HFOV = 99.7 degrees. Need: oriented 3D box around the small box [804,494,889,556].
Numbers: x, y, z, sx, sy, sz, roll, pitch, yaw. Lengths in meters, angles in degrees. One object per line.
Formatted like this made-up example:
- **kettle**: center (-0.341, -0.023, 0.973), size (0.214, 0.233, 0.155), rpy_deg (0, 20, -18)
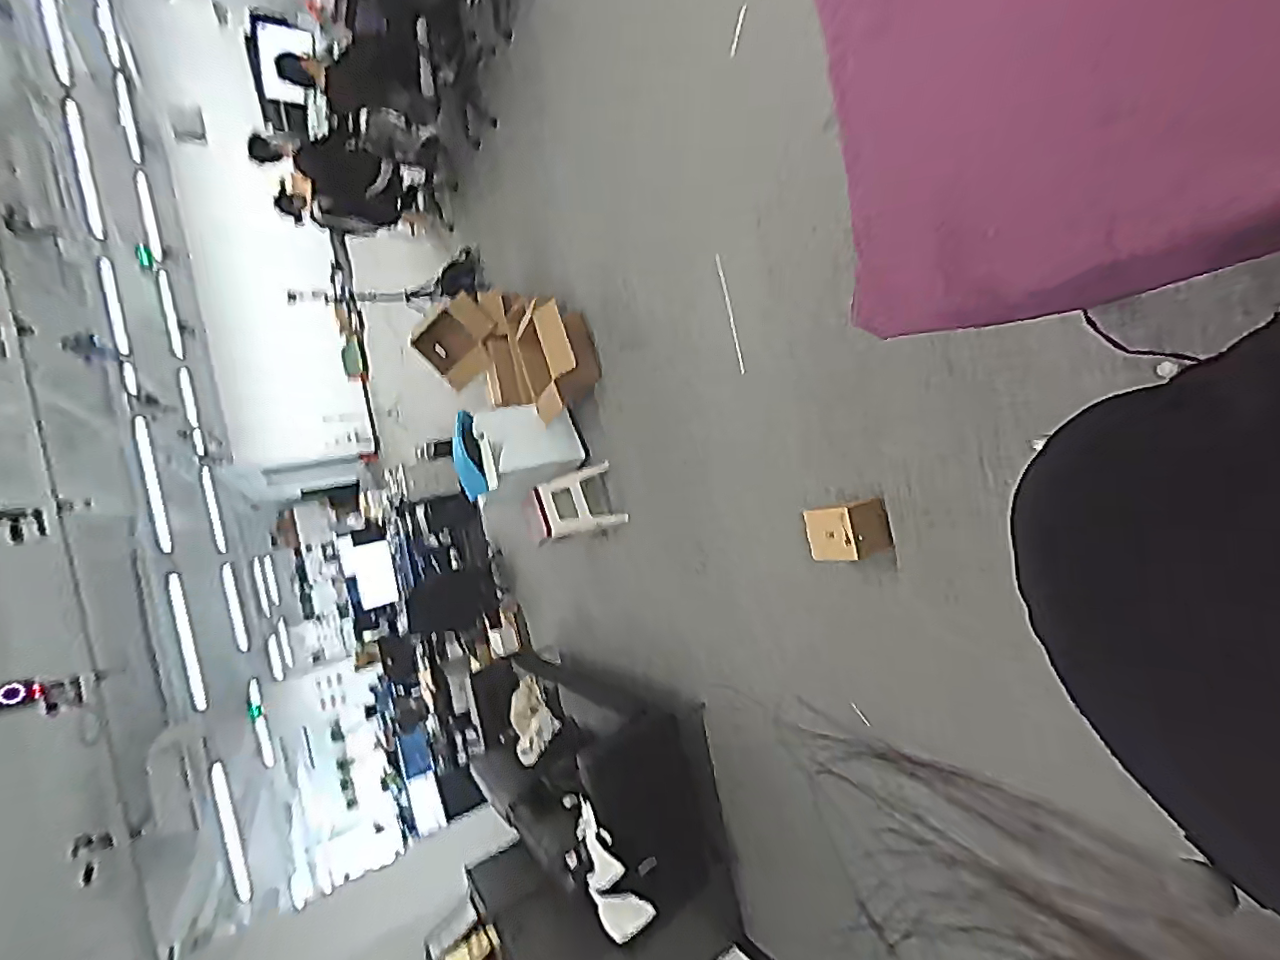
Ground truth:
- **small box**: center (0.664, 0.145, 1.741), size (0.179, 0.176, 0.168), rpy_deg (-12, 90, 59)
